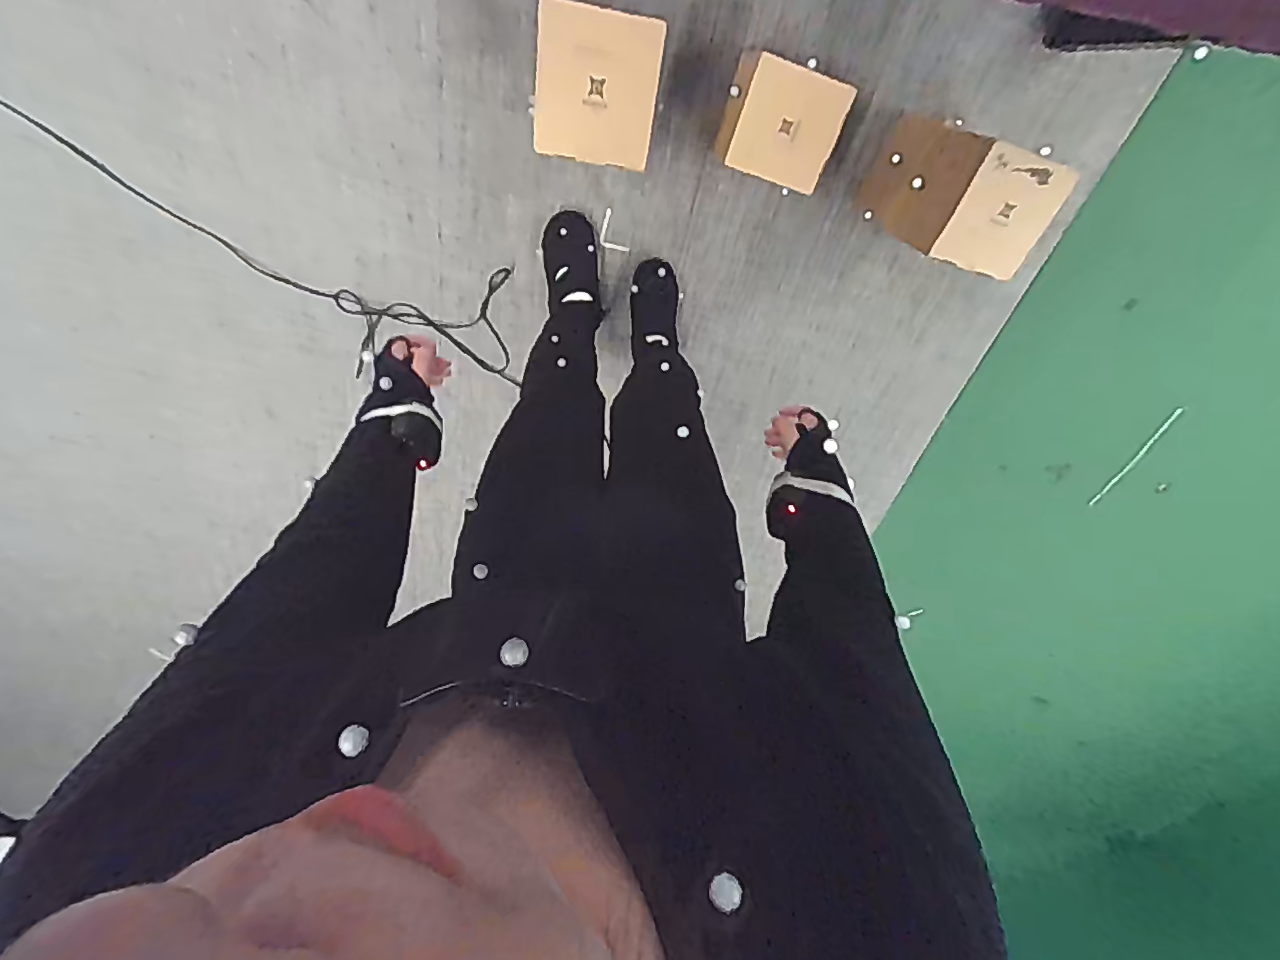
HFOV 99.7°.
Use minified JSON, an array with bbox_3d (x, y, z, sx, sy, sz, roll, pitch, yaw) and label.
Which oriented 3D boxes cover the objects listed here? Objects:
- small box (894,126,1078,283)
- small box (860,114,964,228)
[{"bbox_3d":[0.566,-0.469,0.919,0.168,0.176,0.179,11,128,-14],"label":"small box"},{"bbox_3d":[0.556,-0.576,1.046,0.168,0.176,0.179,15,125,-15],"label":"small box"}]
